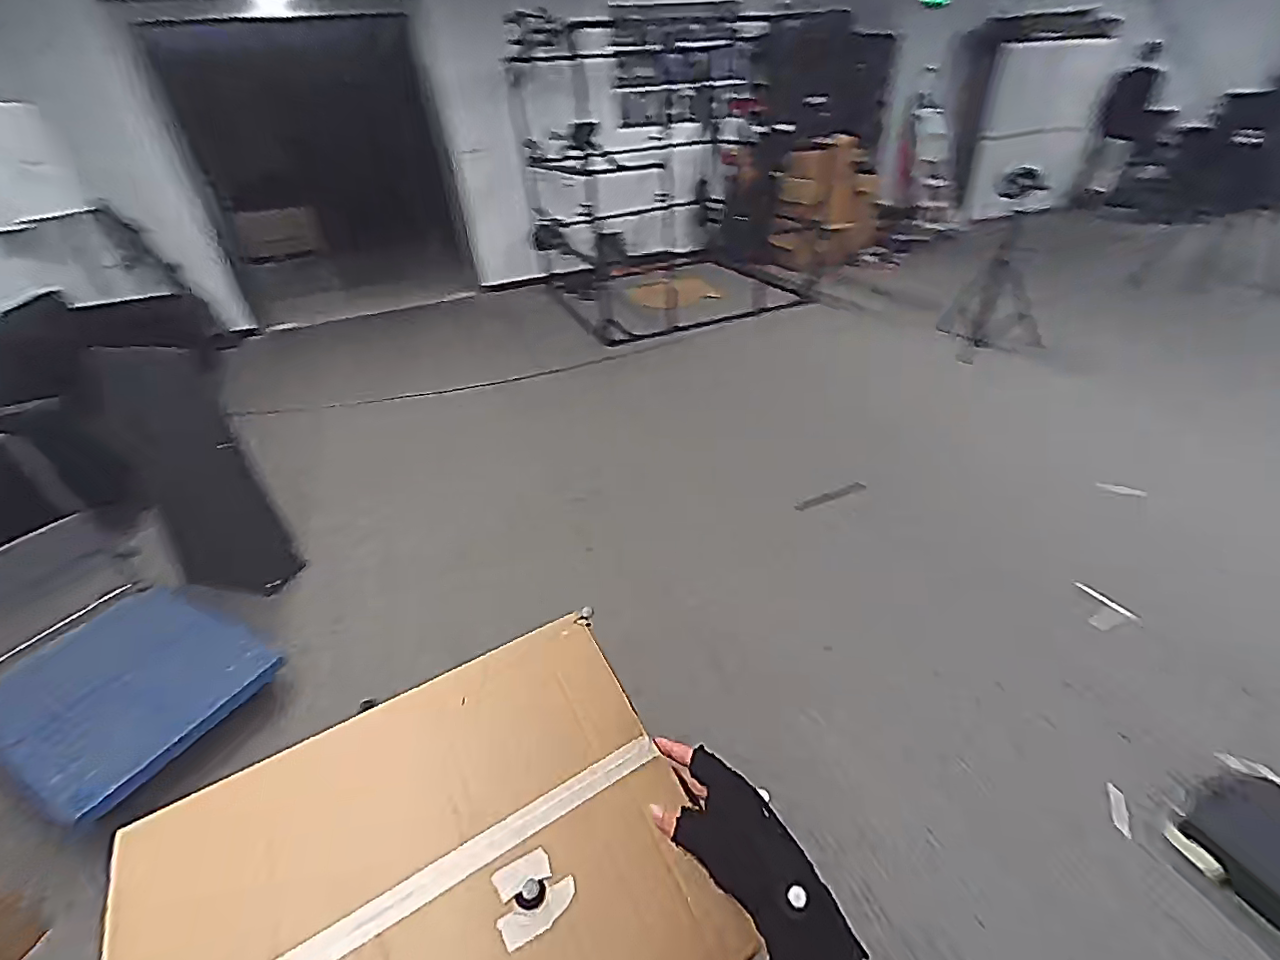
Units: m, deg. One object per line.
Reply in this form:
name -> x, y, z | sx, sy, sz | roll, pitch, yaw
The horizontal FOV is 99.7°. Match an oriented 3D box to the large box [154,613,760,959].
large box -> -0.155, 0.410, 0.531 | 0.408, 0.320, 0.320 | -21, 51, -21
